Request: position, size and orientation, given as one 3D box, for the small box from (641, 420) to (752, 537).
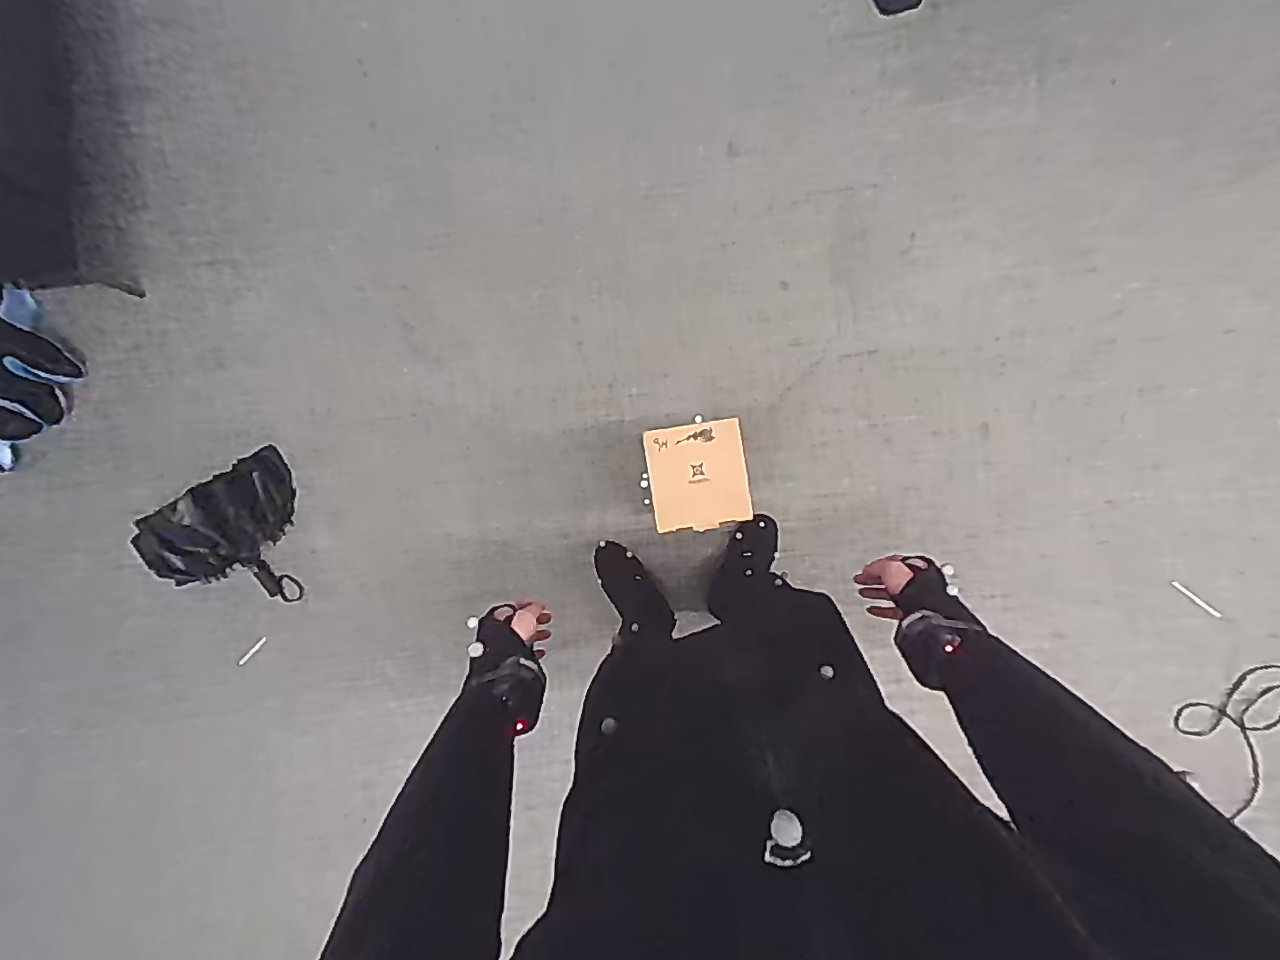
[{"bbox_3d":[0.097,-0.005,0.979,0.168,0.176,0.179,-10,91,1],"label":"small box"}]
